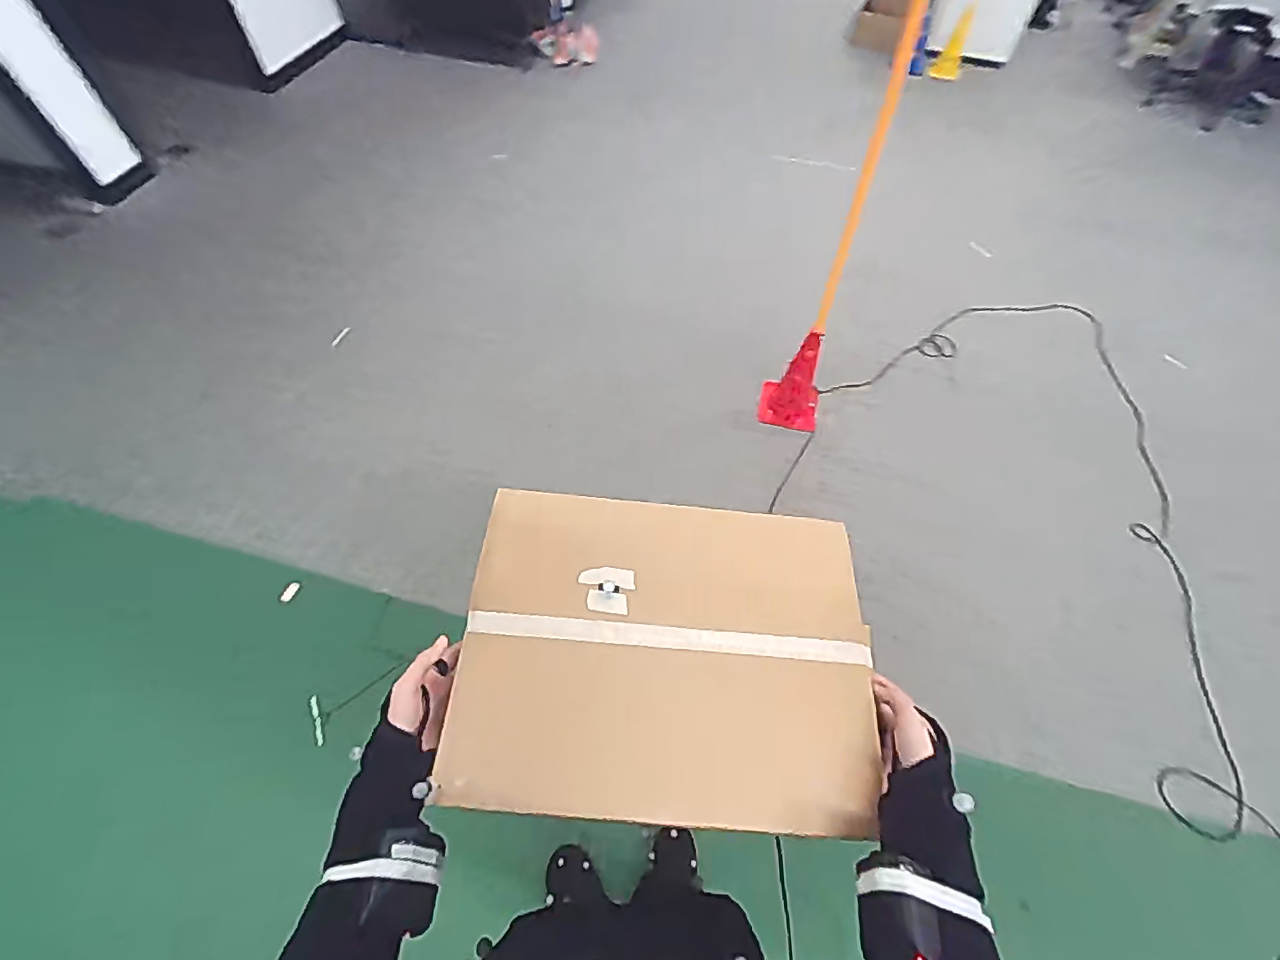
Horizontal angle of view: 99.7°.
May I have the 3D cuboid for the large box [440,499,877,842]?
[{"bbox_3d":[0.022,0.246,0.685,0.408,0.320,0.320,7,59,-1],"label":"large box"}]
